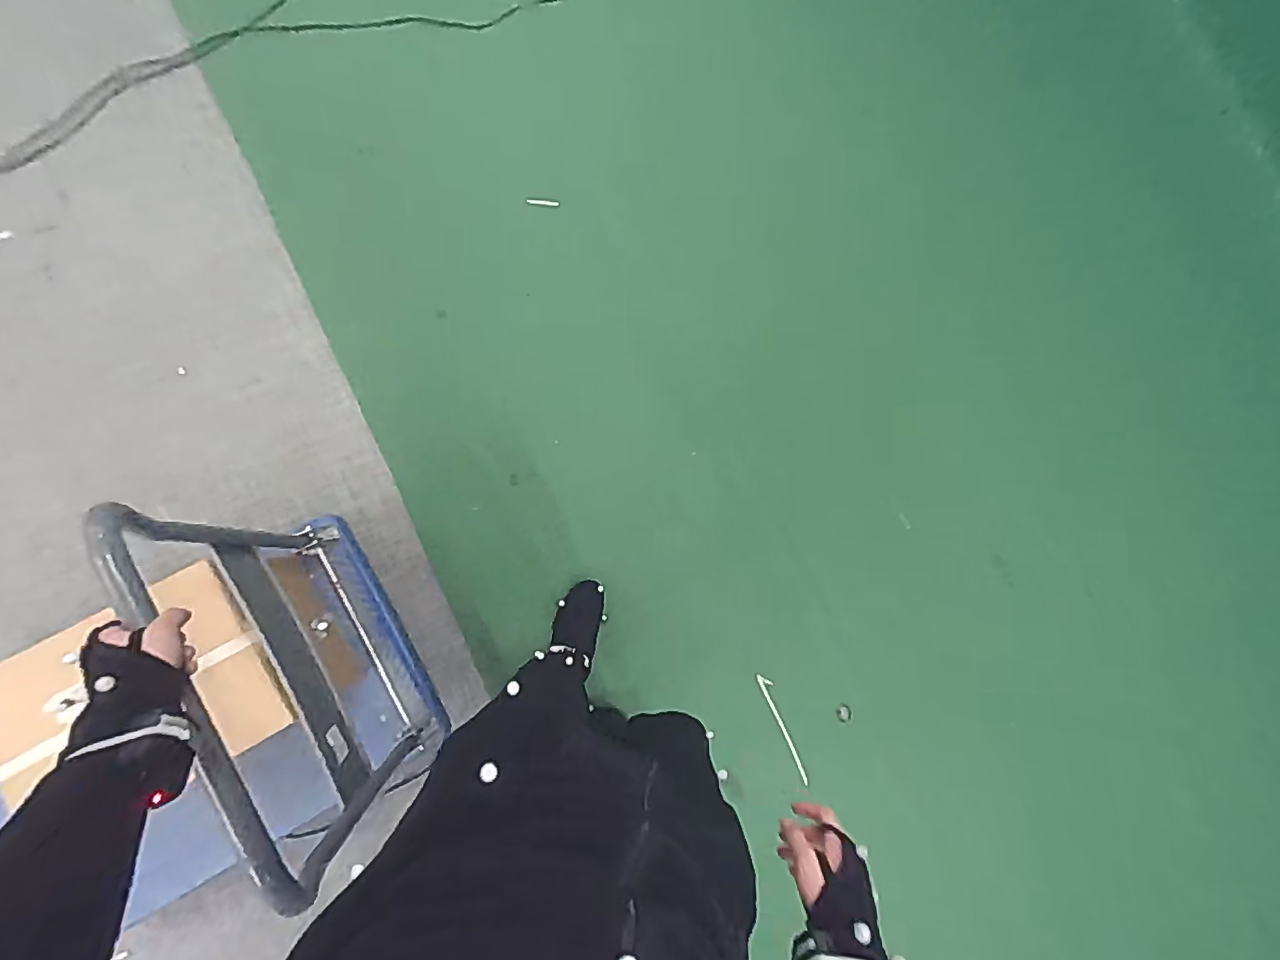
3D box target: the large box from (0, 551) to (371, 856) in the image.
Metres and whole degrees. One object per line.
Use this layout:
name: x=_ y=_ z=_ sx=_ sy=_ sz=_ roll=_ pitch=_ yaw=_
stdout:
large box: x=-0.808 y=0.367 z=1.013 sx=0.408 sy=0.320 sz=0.320 roll=-29 pitch=88 yaw=-9
